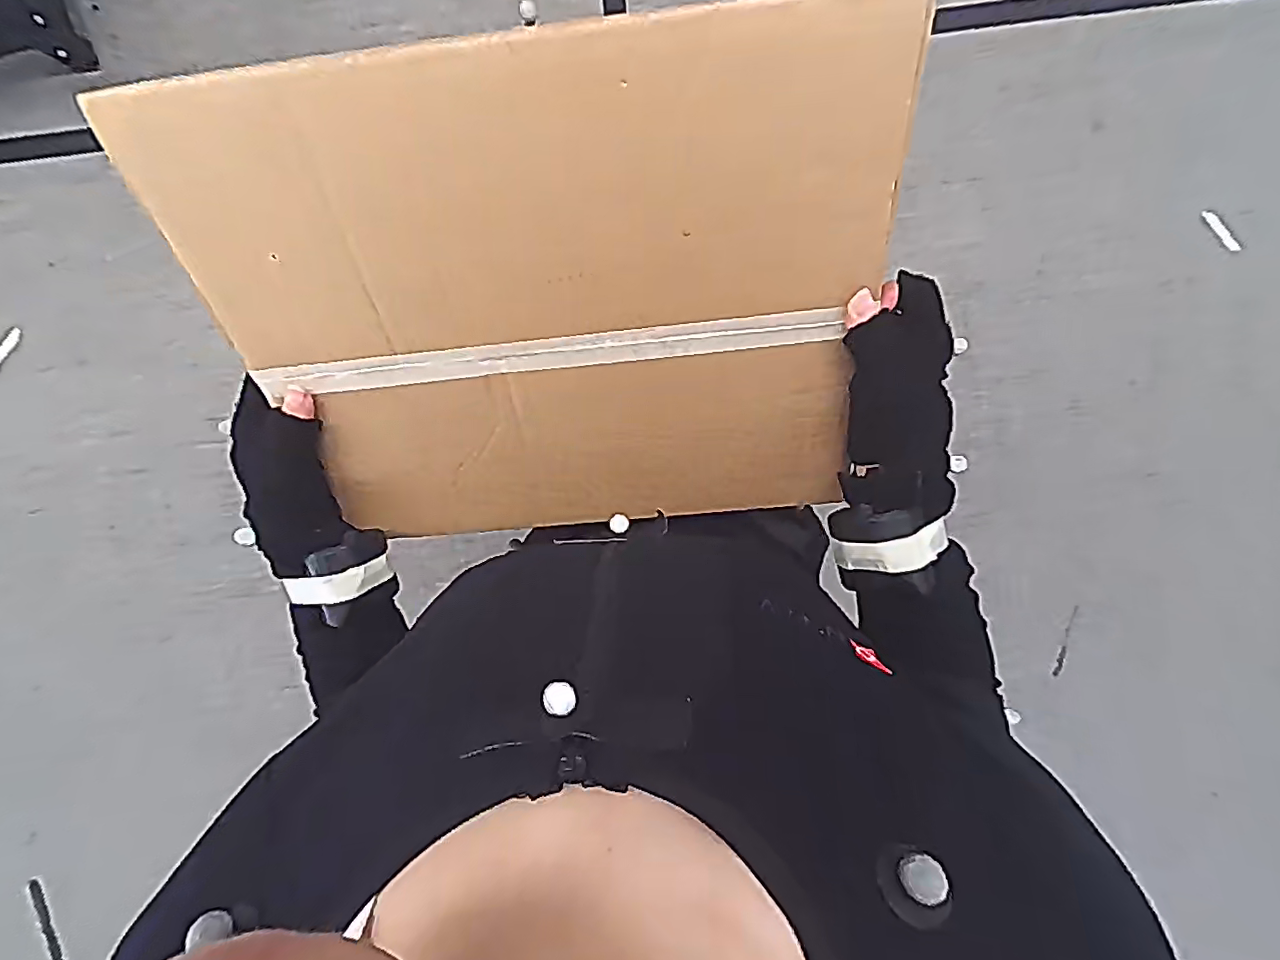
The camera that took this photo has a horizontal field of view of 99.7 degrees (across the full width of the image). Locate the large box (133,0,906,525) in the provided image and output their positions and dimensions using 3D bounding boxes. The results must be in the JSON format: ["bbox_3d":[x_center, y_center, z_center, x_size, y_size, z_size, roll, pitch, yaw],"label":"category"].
[{"bbox_3d":[-0.052,-0.191,0.474,0.408,0.320,0.320,-5,131,4],"label":"large box"}]
